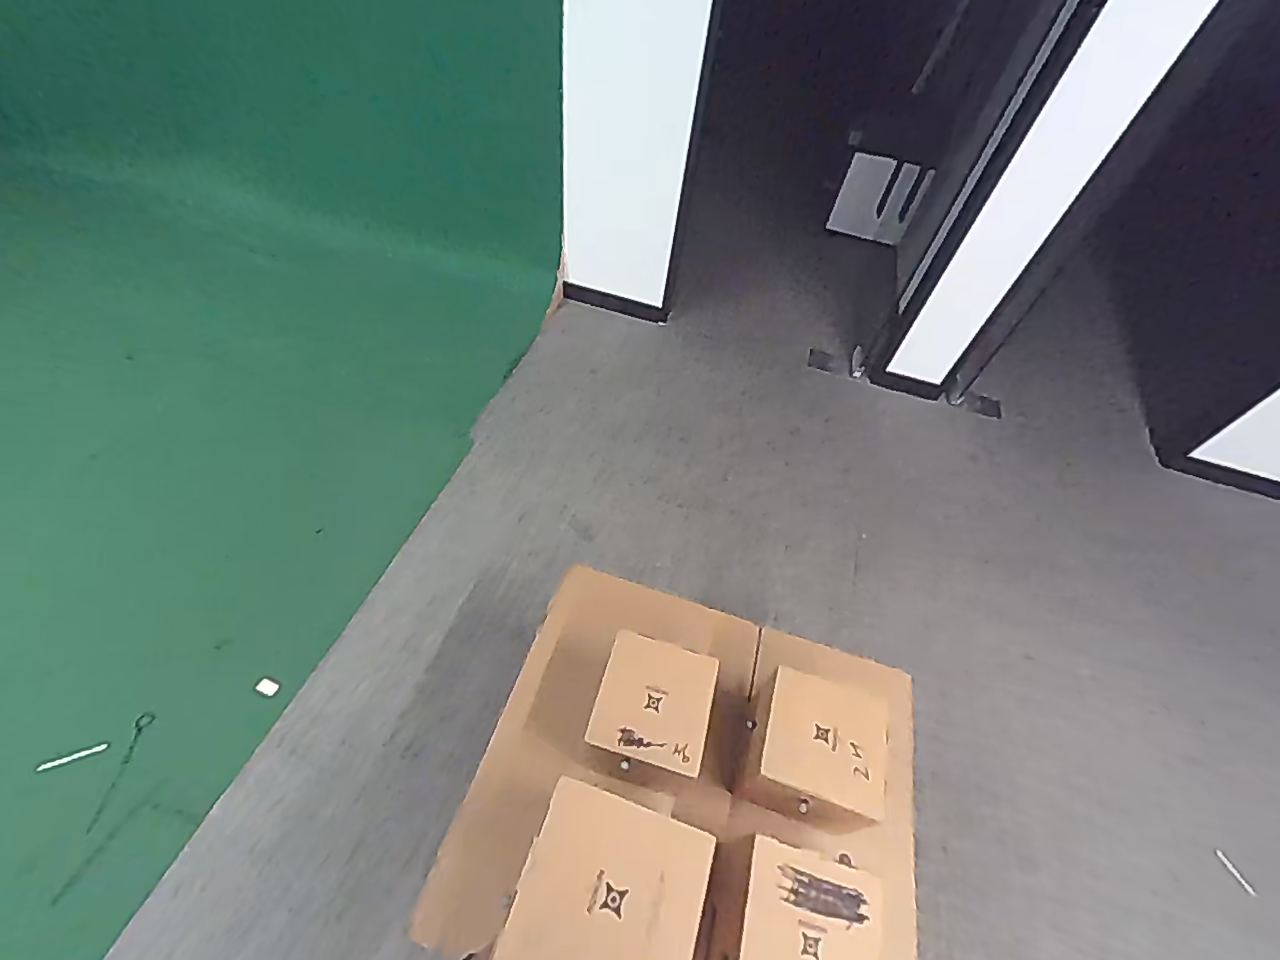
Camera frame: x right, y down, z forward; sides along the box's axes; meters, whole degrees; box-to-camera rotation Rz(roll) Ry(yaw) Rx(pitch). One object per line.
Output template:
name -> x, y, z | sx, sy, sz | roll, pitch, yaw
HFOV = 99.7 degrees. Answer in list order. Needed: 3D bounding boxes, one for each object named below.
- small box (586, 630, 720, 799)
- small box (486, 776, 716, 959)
small box -> 0.016, 0.370, 0.848 | 0.168, 0.176, 0.179 | 15, 50, 7
small box -> -0.037, 0.445, 0.574 | 0.179, 0.176, 0.168 | 19, 53, 7
